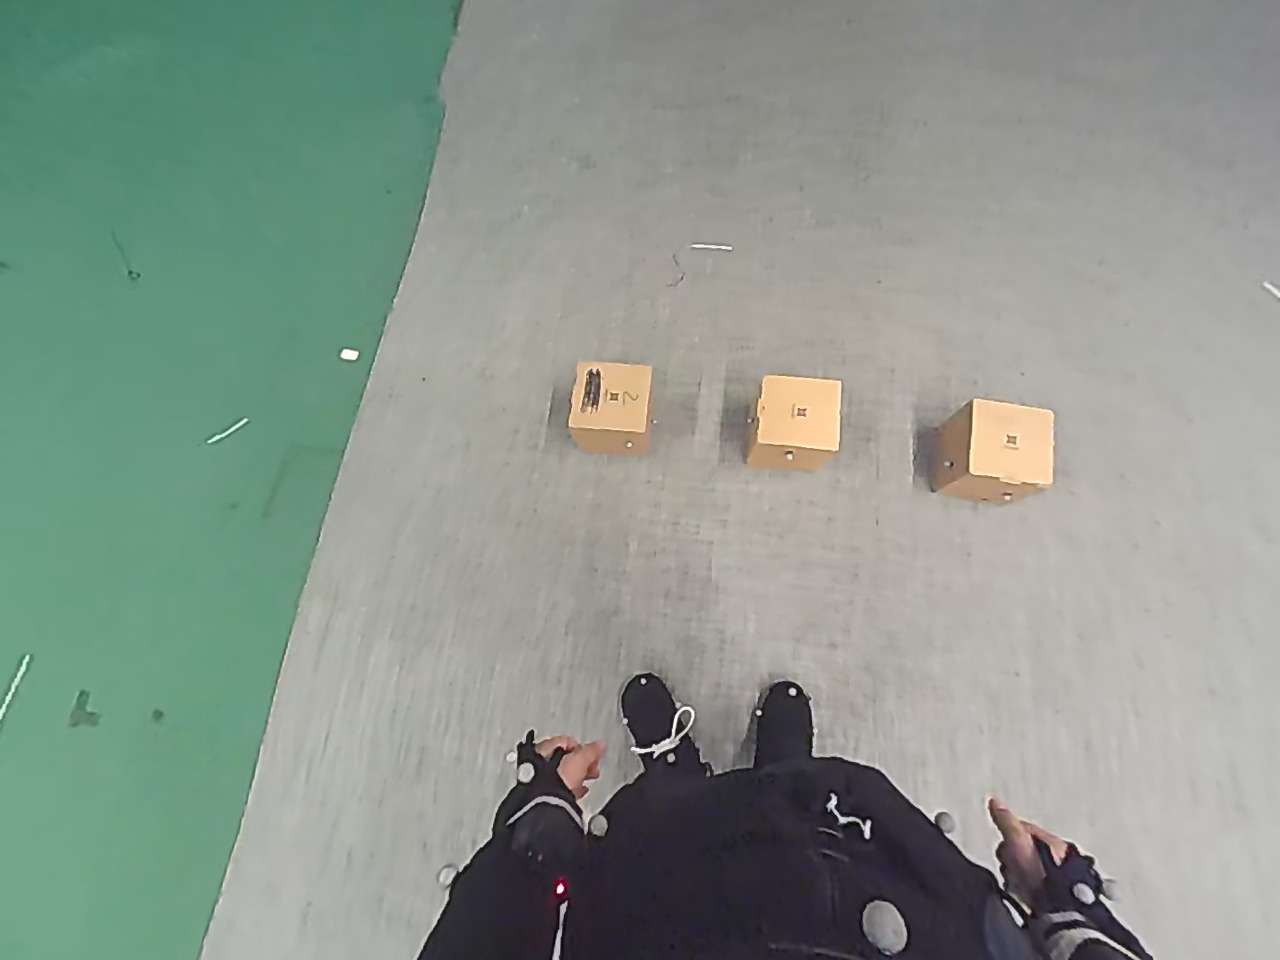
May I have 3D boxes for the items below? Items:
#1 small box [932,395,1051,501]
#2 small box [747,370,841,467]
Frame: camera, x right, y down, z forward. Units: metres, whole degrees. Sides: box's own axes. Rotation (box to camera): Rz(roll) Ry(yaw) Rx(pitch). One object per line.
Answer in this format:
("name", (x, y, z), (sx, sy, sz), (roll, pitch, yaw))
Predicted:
("small box", (0.773, -0.064, 1.202), (0.168, 0.176, 0.179), (11, 74, 5))
("small box", (0.351, -0.135, 1.250), (0.179, 0.176, 0.168), (6, 75, 6))
